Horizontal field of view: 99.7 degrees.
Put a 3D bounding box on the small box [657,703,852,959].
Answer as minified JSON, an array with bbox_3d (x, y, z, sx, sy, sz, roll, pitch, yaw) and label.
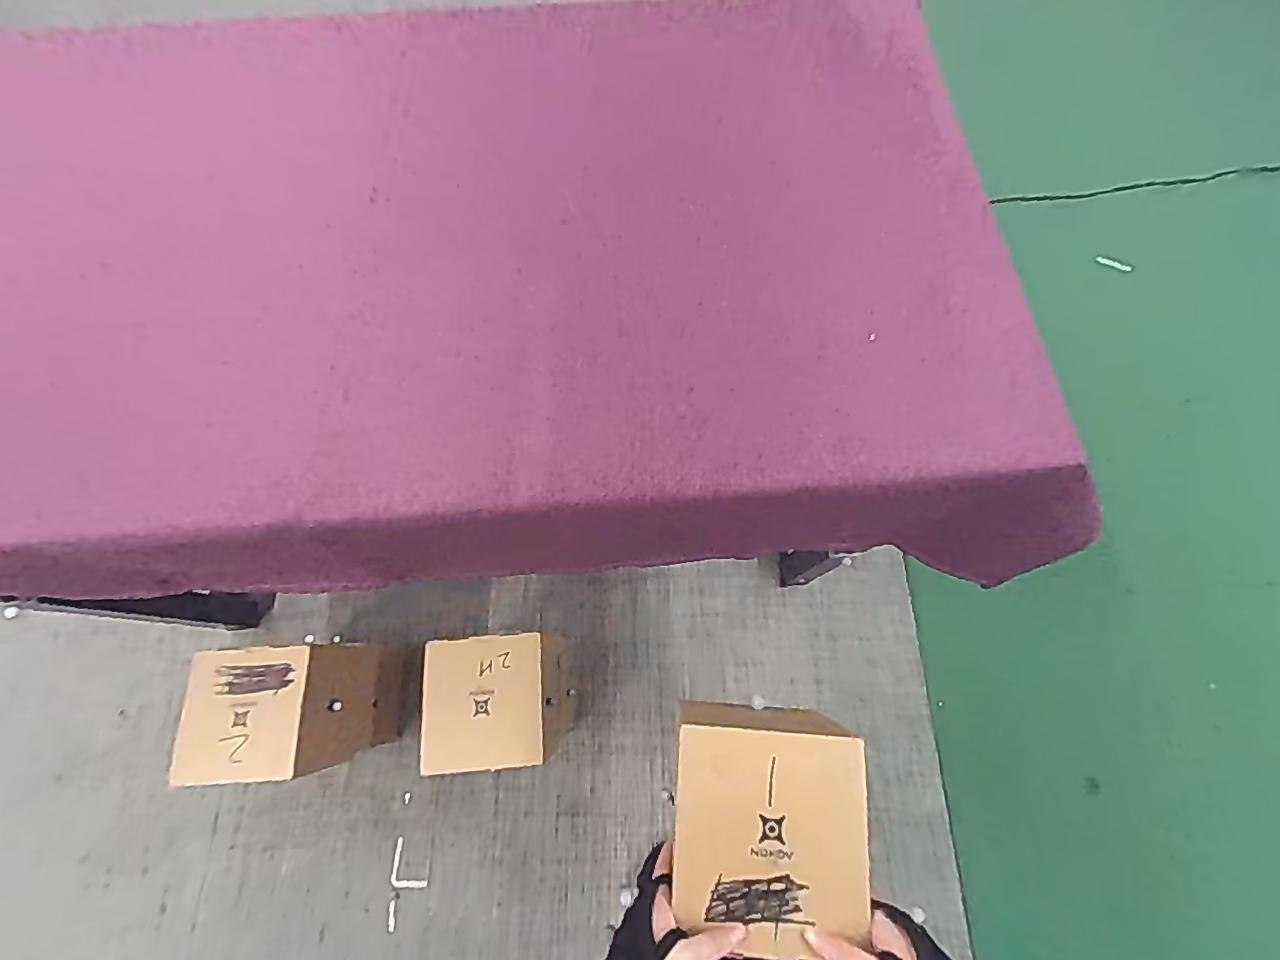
[{"bbox_3d":[0.108,0.338,0.555,0.168,0.176,0.179,3,73,4],"label":"small box"}]

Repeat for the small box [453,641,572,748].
[{"bbox_3d":[-0.223,0.389,0.987,0.179,0.176,0.168,-3,71,-1],"label":"small box"}]
